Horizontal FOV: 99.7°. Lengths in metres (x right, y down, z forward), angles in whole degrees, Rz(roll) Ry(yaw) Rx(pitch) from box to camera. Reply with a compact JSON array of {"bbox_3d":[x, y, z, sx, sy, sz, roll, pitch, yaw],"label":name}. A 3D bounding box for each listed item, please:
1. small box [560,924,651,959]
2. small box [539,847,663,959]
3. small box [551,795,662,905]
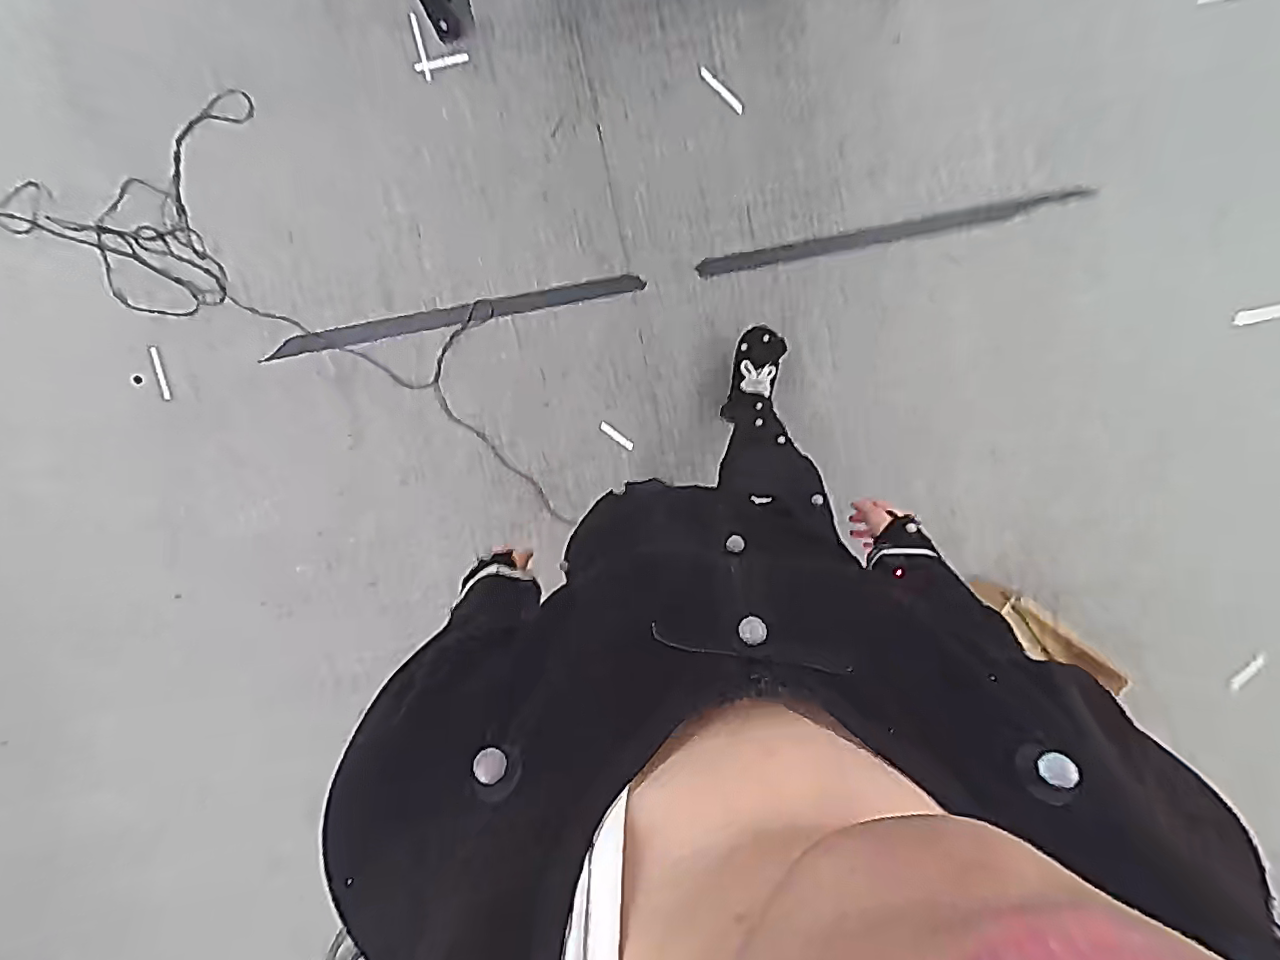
[{"bbox_3d":[-0.067,0.889,0.873,0.168,0.176,0.179,42,95,-6],"label":"small box"},{"bbox_3d":[-0.069,0.868,1.036,0.168,0.176,0.179,43,94,-6],"label":"small box"},{"bbox_3d":[-0.072,0.852,1.198,0.168,0.176,0.179,40,96,-5],"label":"small box"}]
